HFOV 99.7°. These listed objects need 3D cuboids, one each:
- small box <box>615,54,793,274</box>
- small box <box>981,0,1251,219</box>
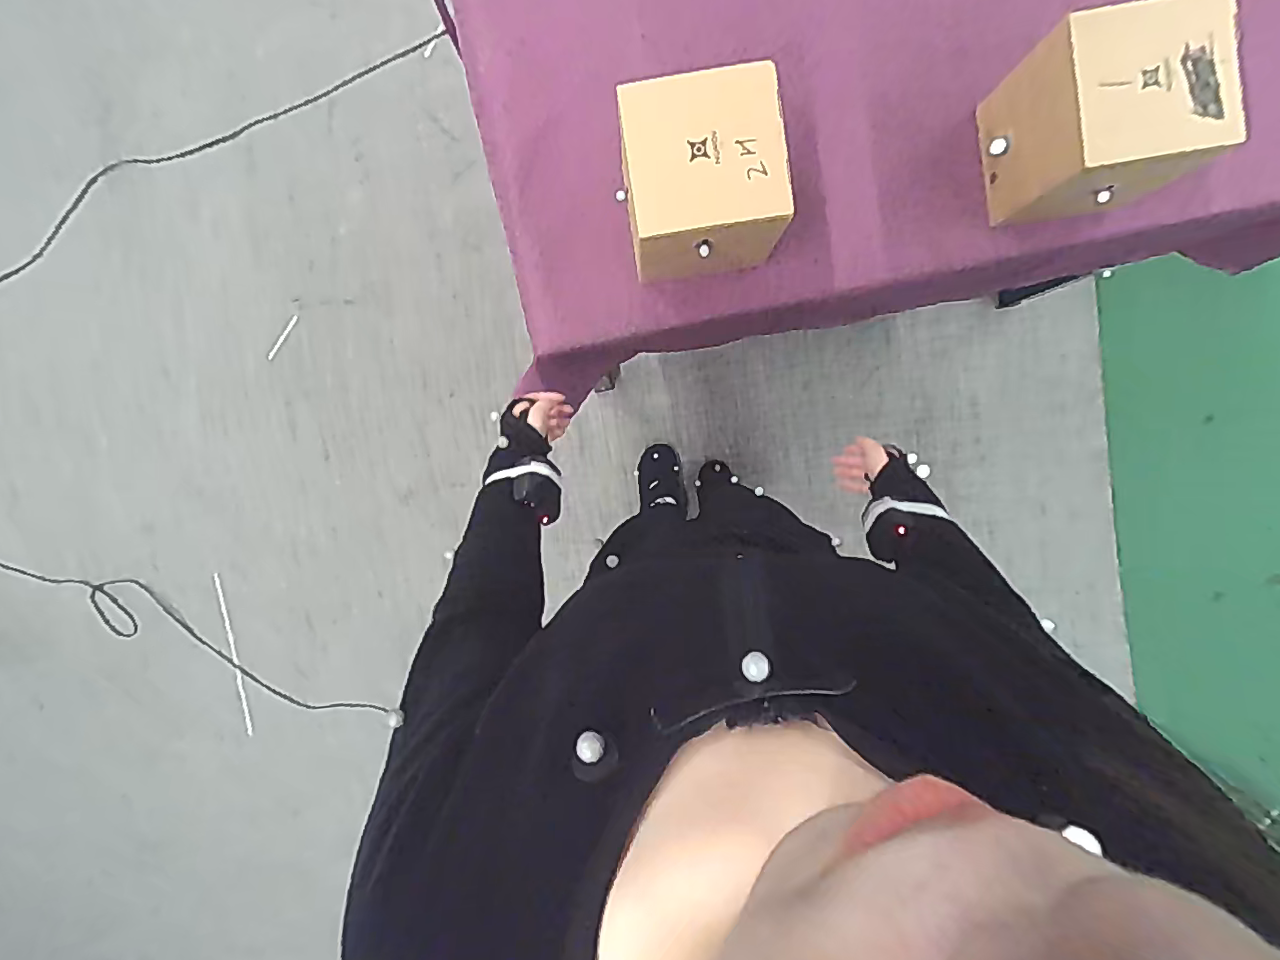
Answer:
[{"bbox_3d":[0.071,-0.366,0.660,0.179,0.176,0.168,-8,94,1],"label":"small box"},{"bbox_3d":[0.552,-0.439,0.649,0.179,0.176,0.168,-9,94,2],"label":"small box"}]
